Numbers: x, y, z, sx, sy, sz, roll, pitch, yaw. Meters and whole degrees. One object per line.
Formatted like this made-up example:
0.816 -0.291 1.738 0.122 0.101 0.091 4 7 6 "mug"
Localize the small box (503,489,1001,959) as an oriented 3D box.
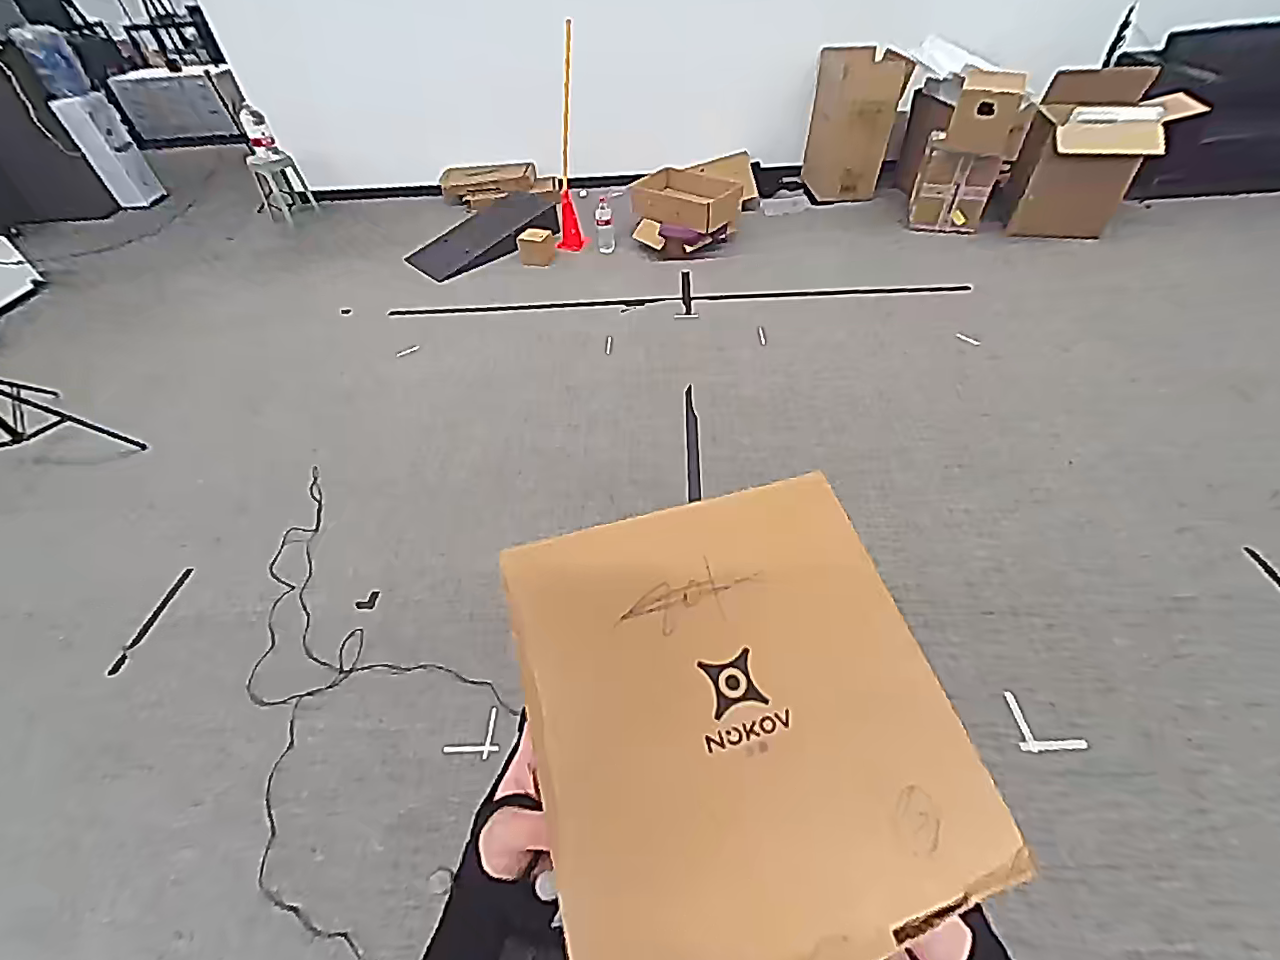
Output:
0.033 0.135 0.297 0.168 0.176 0.179 -13 59 -12 "small box"
